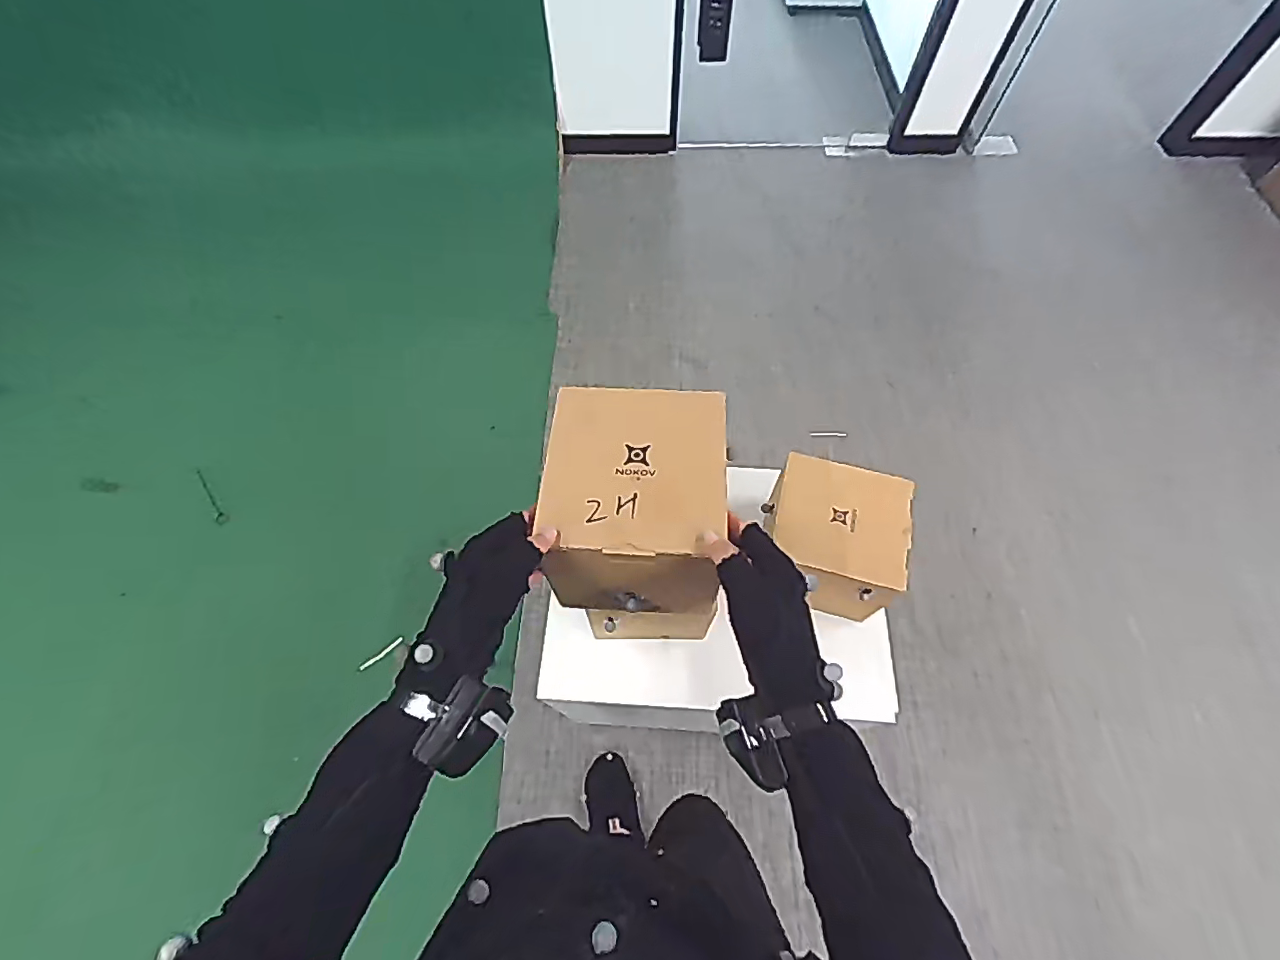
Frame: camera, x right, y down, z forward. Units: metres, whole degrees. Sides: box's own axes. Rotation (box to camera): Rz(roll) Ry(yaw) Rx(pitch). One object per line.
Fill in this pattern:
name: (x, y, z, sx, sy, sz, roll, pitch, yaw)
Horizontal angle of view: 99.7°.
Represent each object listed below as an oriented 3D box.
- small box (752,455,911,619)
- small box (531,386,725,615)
small box: (0.270, 0.089, 0.790, 0.179, 0.176, 0.168, 14, 63, 8)
small box: (-0.003, 0.025, 0.562, 0.168, 0.176, 0.179, 3, 60, 4)
